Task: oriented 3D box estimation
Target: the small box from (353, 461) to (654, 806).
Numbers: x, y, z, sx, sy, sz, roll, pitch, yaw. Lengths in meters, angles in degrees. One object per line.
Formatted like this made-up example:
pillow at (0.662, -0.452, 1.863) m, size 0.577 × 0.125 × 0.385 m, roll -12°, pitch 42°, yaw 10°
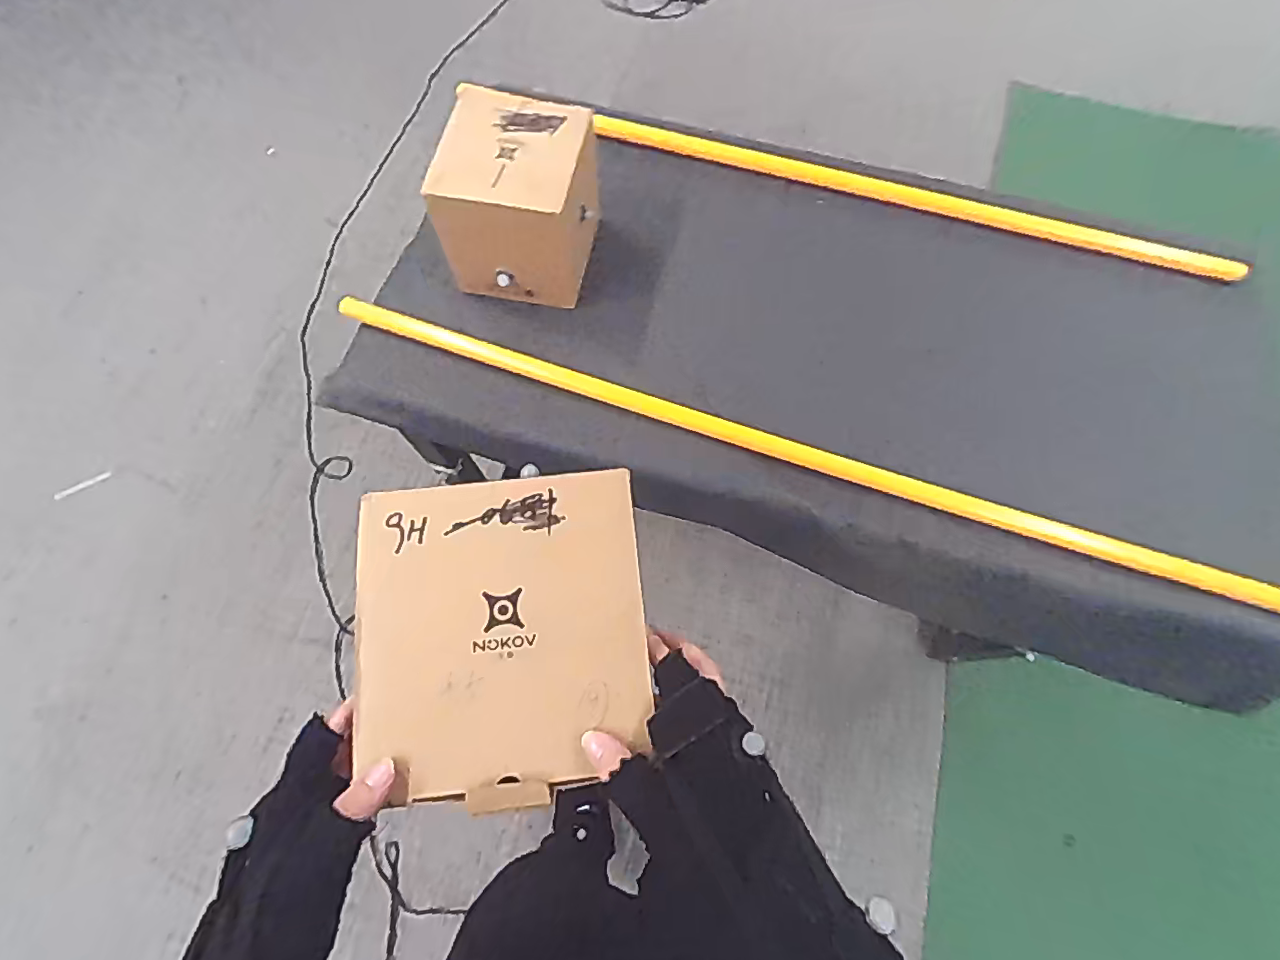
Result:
small box at (-0.082, 0.101, 0.390) m, size 0.168 × 0.176 × 0.179 m, roll -9°, pitch 75°, yaw -3°

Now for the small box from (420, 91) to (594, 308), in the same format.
small box at (-0.157, -0.360, 0.711) m, size 0.168 × 0.176 × 0.179 m, roll 10°, pitch 70°, yaw 3°
